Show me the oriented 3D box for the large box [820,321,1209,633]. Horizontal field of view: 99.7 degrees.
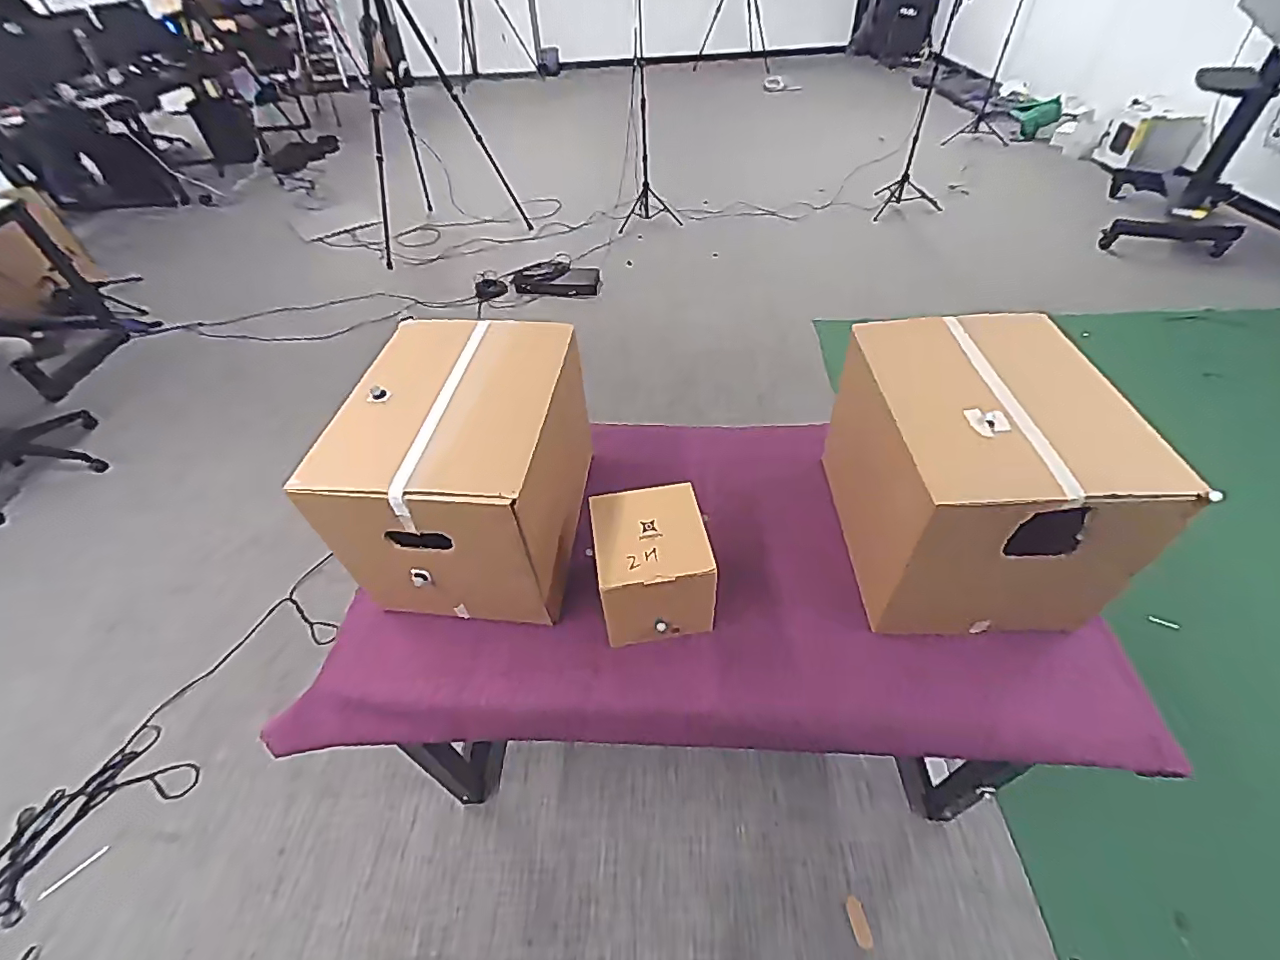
[{"bbox_3d":[0.508,-0.010,0.865,0.320,0.320,0.408,-3,47,4],"label":"large box"}]
